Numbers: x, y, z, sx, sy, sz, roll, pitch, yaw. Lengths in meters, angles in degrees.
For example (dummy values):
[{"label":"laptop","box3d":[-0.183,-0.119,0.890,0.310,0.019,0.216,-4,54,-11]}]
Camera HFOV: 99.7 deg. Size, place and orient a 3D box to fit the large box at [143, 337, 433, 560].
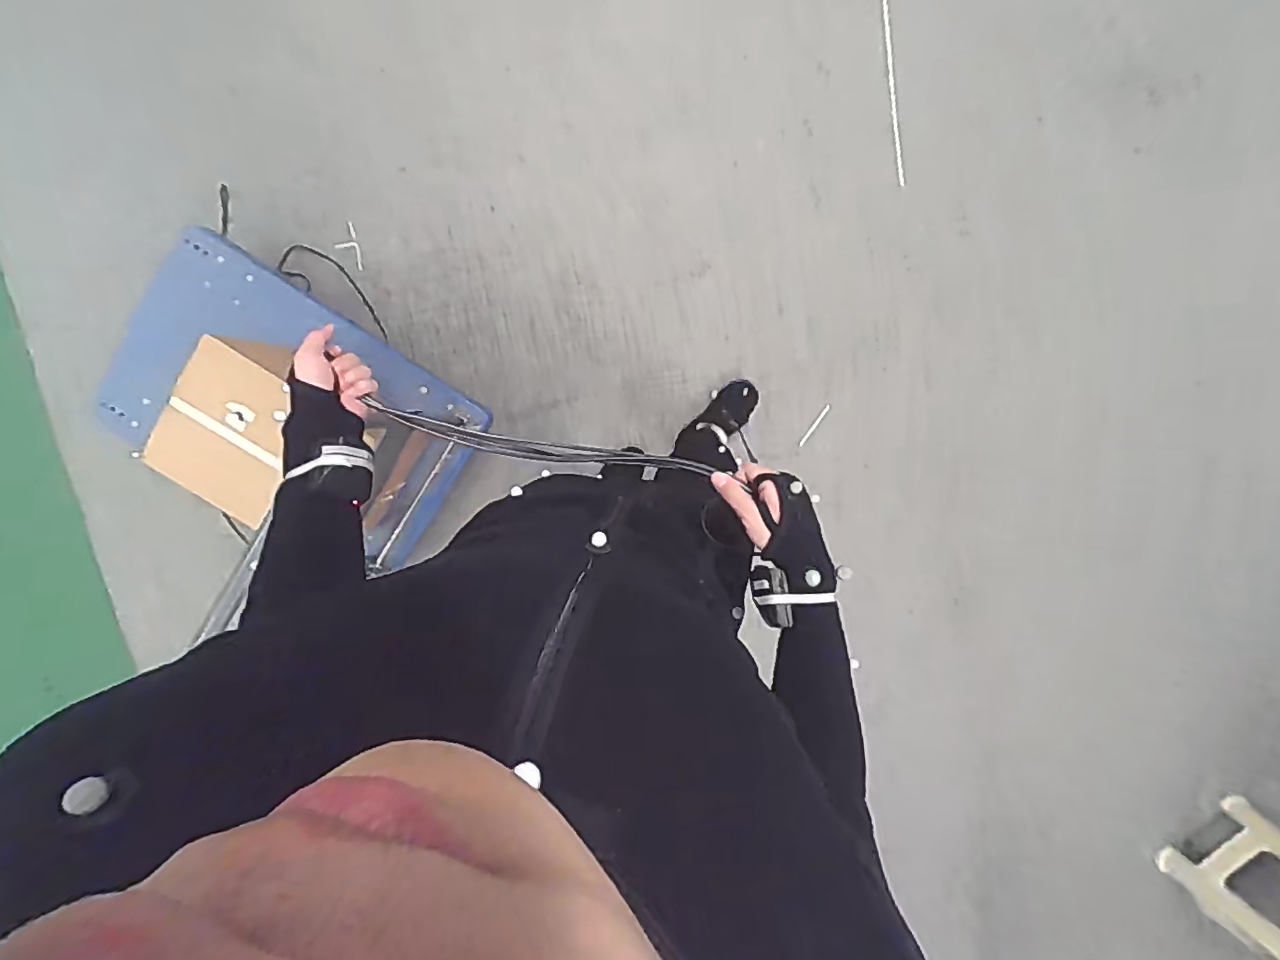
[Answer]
[{"label":"large box","box3d":[-0.777,-0.079,1.257,0.408,0.320,0.320,33,96,-4]}]
